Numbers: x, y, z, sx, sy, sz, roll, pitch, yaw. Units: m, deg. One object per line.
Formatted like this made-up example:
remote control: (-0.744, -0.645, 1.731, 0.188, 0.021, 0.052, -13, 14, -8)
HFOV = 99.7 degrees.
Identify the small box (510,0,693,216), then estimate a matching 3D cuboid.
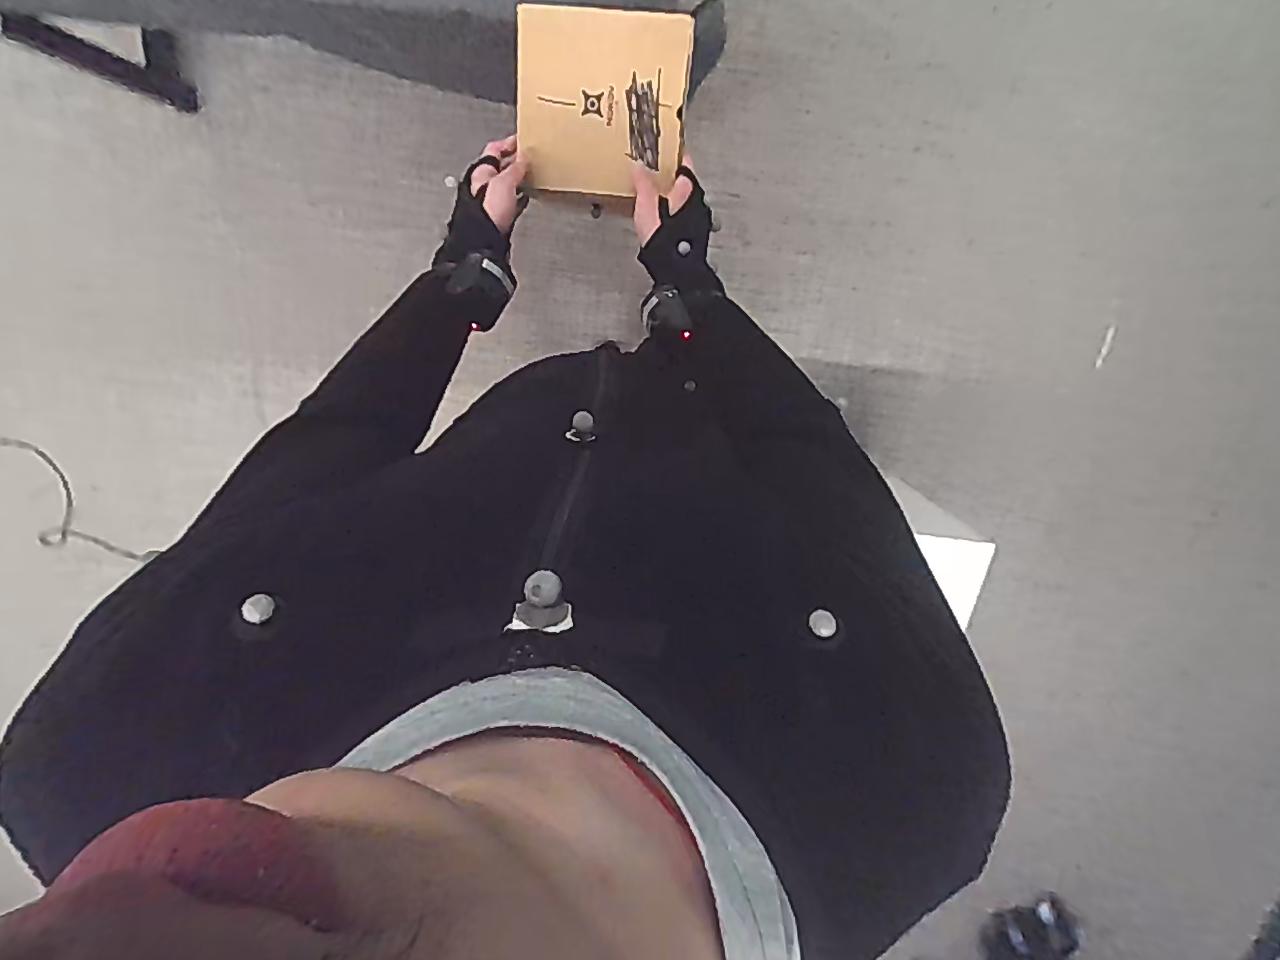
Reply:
small box: (-0.041, -0.407, 0.616, 0.179, 0.176, 0.168, 5, 108, 0)
